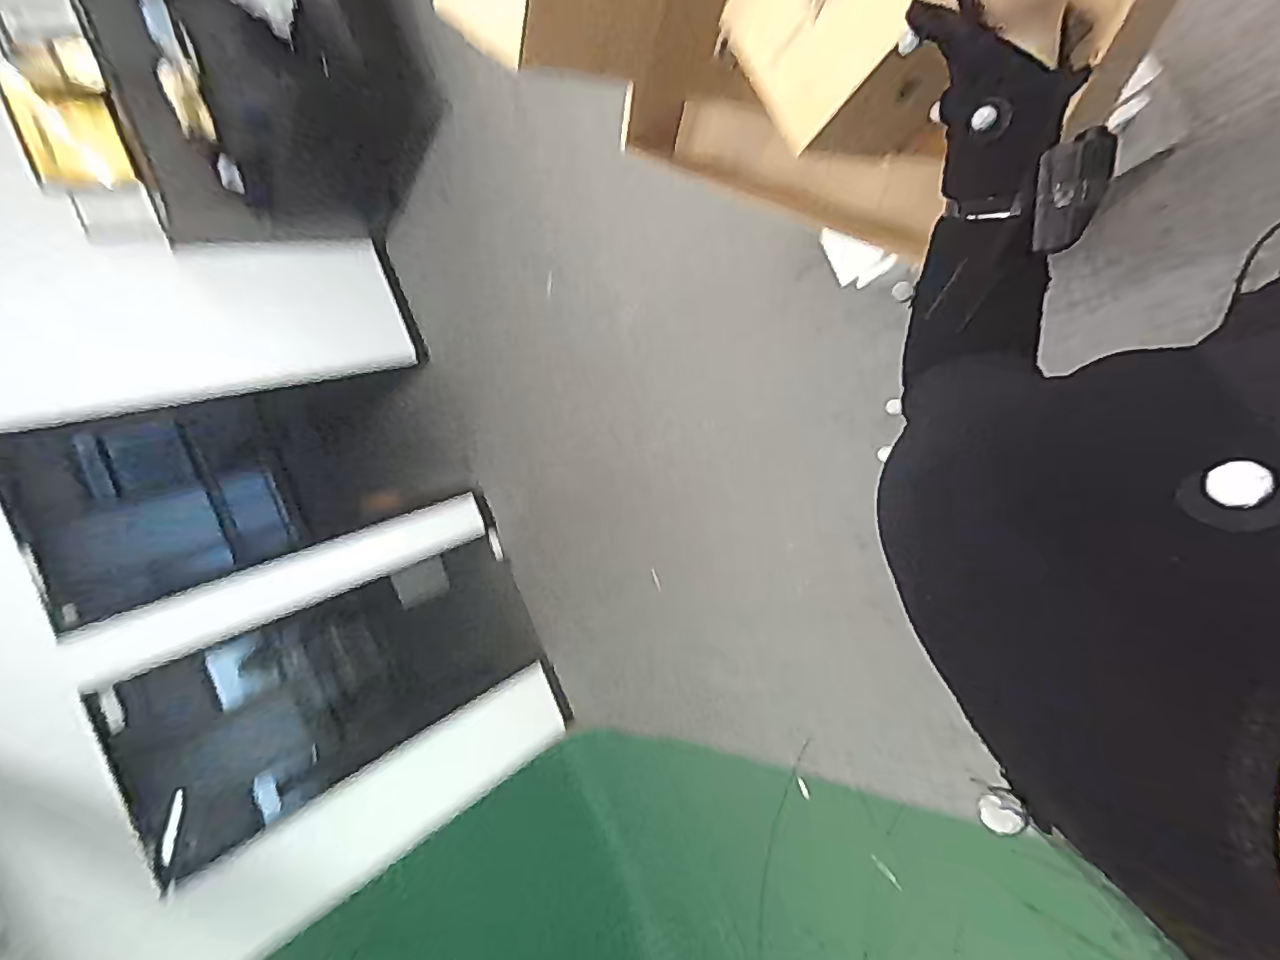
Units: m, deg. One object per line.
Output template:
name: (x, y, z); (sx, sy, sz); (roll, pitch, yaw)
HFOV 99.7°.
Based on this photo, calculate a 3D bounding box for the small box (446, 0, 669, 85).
small box: (-0.073, -0.536, 0.542); (0.168, 0.176, 0.179); (49, 140, 21)

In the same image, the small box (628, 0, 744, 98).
small box: (0.034, -0.594, 0.655); (0.179, 0.176, 0.168); (50, 140, 17)

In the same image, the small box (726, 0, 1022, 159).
small box: (0.222, -0.439, 0.510); (0.179, 0.176, 0.168); (-34, 80, 54)
